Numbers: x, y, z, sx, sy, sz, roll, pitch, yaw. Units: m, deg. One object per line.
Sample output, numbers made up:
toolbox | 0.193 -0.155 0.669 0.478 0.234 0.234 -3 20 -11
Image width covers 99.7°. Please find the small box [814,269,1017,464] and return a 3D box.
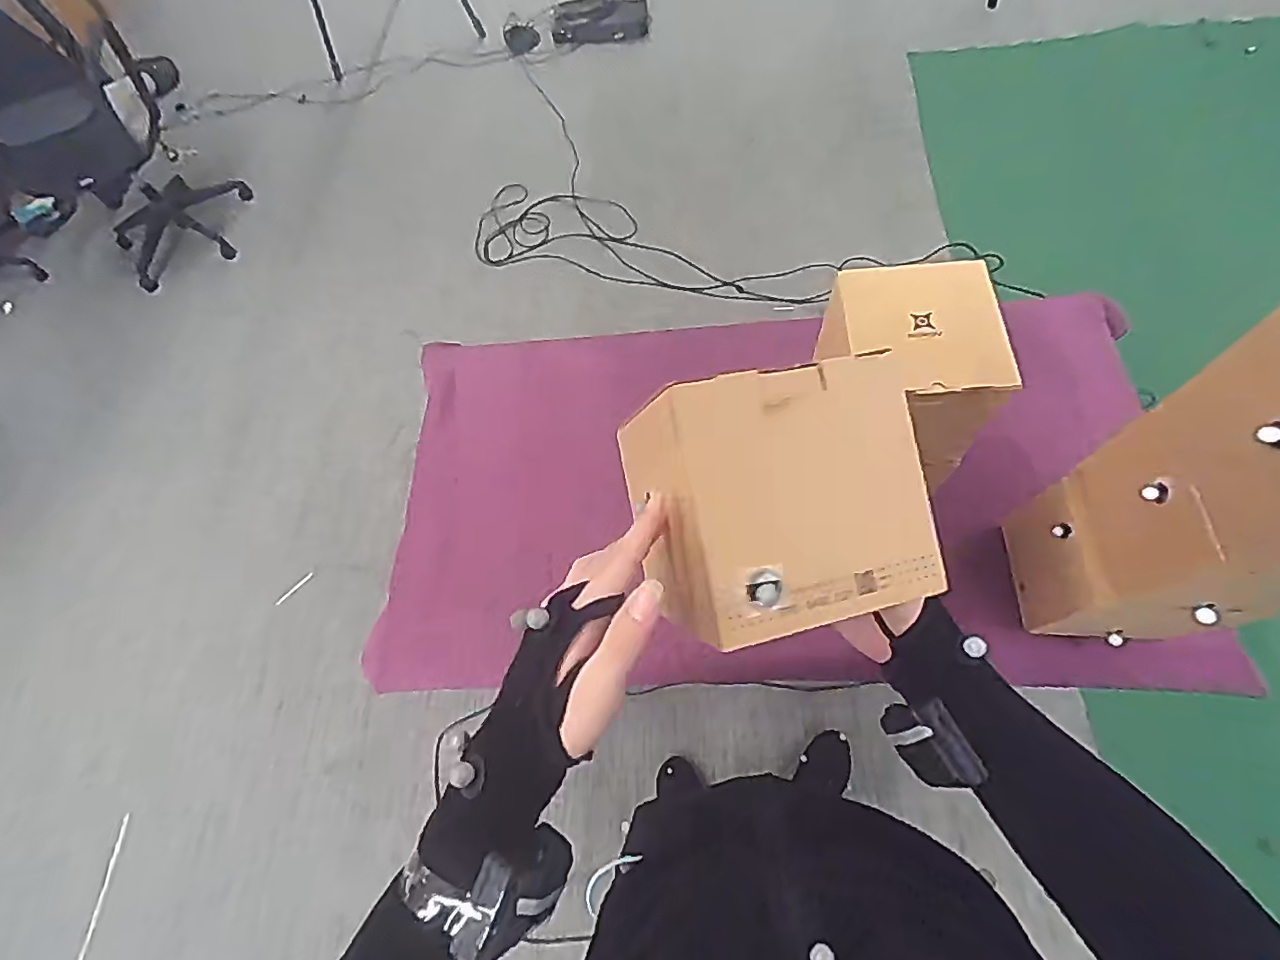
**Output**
small box | 0.321 -0.132 0.673 0.168 0.176 0.179 -1 66 7

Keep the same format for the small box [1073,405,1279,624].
small box | 0.593 0.040 0.555 0.168 0.176 0.179 0 65 10

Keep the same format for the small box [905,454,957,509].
small box | 0.348 -0.062 0.816 0.168 0.176 0.179 1 66 9

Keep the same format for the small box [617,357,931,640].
small box | 0.092 0.018 0.427 0.168 0.179 0.176 -9 86 -16

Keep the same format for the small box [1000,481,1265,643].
small box | 0.612 0.112 0.701 0.179 0.176 0.168 1 65 8
